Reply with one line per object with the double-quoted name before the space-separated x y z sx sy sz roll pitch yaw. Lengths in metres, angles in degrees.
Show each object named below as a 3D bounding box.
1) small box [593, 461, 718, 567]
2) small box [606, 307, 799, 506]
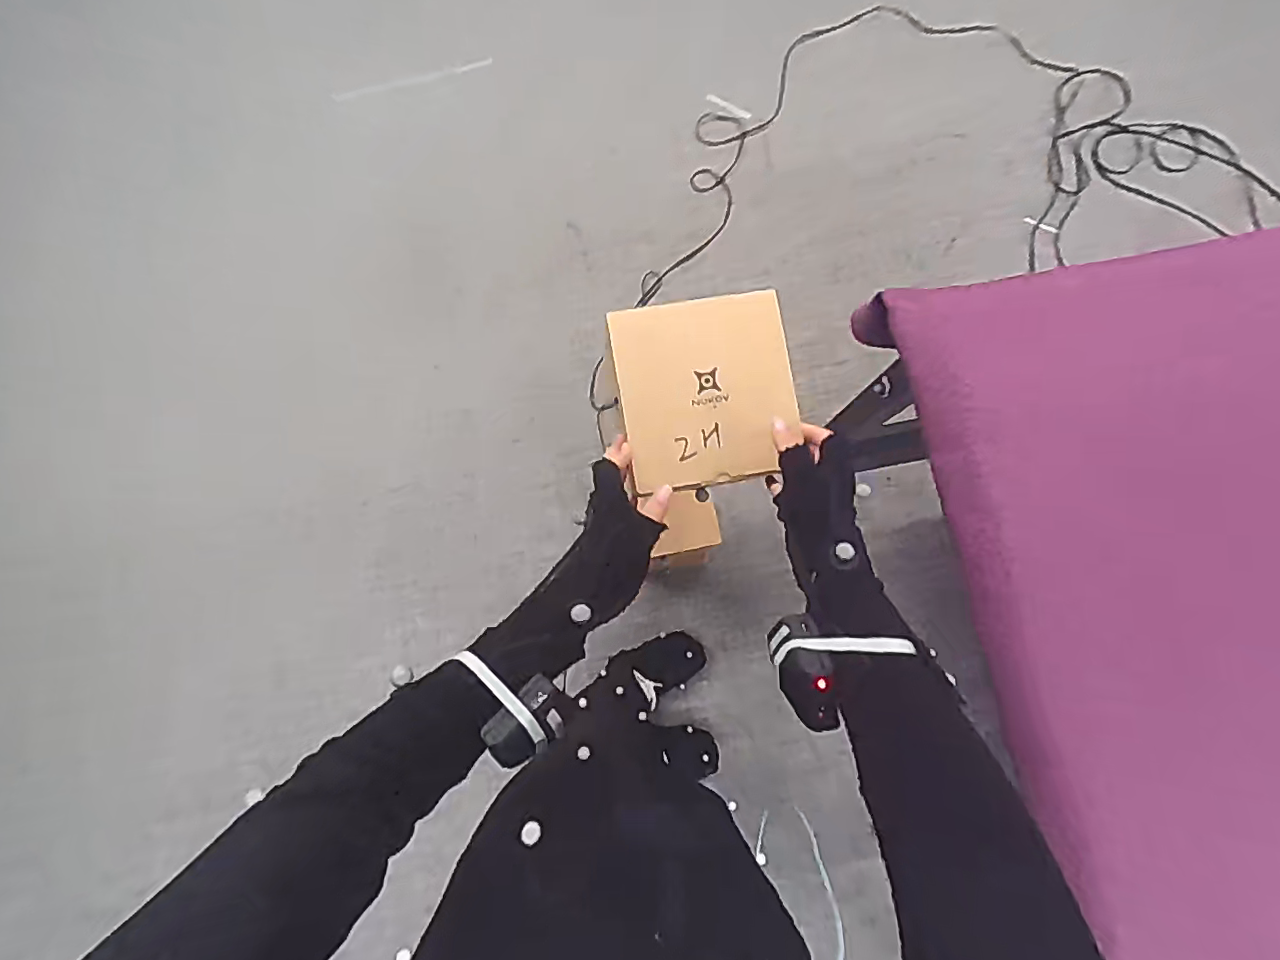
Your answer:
"small box" 0.027 0.053 0.925 0.179 0.176 0.168 -11 80 3
"small box" 0.055 -0.069 0.599 0.168 0.176 0.179 -9 87 -5
